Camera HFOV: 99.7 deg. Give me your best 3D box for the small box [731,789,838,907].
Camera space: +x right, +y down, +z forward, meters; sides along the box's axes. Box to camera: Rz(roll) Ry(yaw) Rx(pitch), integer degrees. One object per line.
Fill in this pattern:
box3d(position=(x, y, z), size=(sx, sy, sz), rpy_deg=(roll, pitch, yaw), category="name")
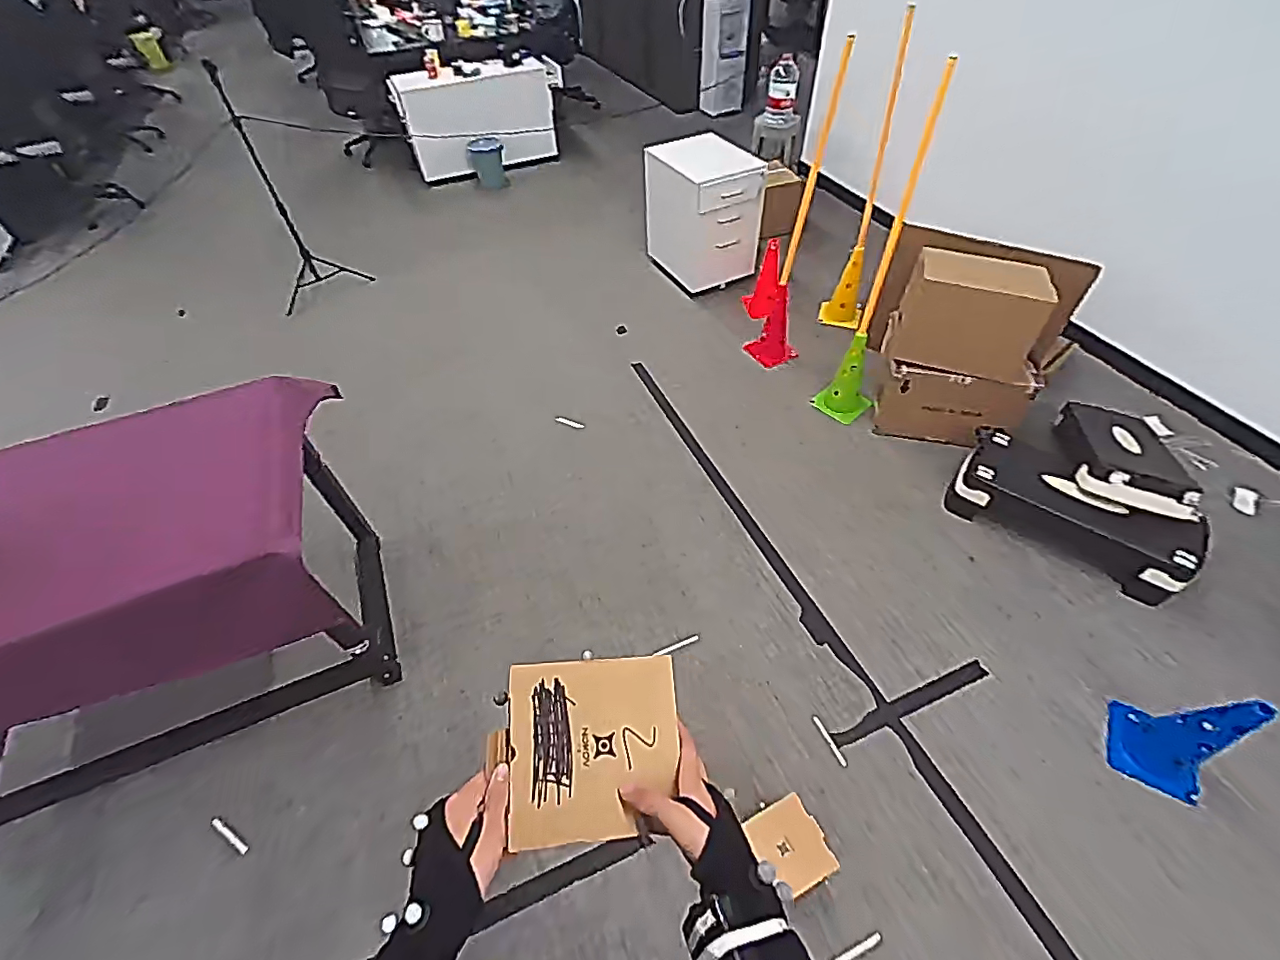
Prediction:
box3d(position=(0.324, 0.860, 1.260), size=(0.179, 0.176, 0.168), rpy_deg=(-22, 53, -15), category="small box")
